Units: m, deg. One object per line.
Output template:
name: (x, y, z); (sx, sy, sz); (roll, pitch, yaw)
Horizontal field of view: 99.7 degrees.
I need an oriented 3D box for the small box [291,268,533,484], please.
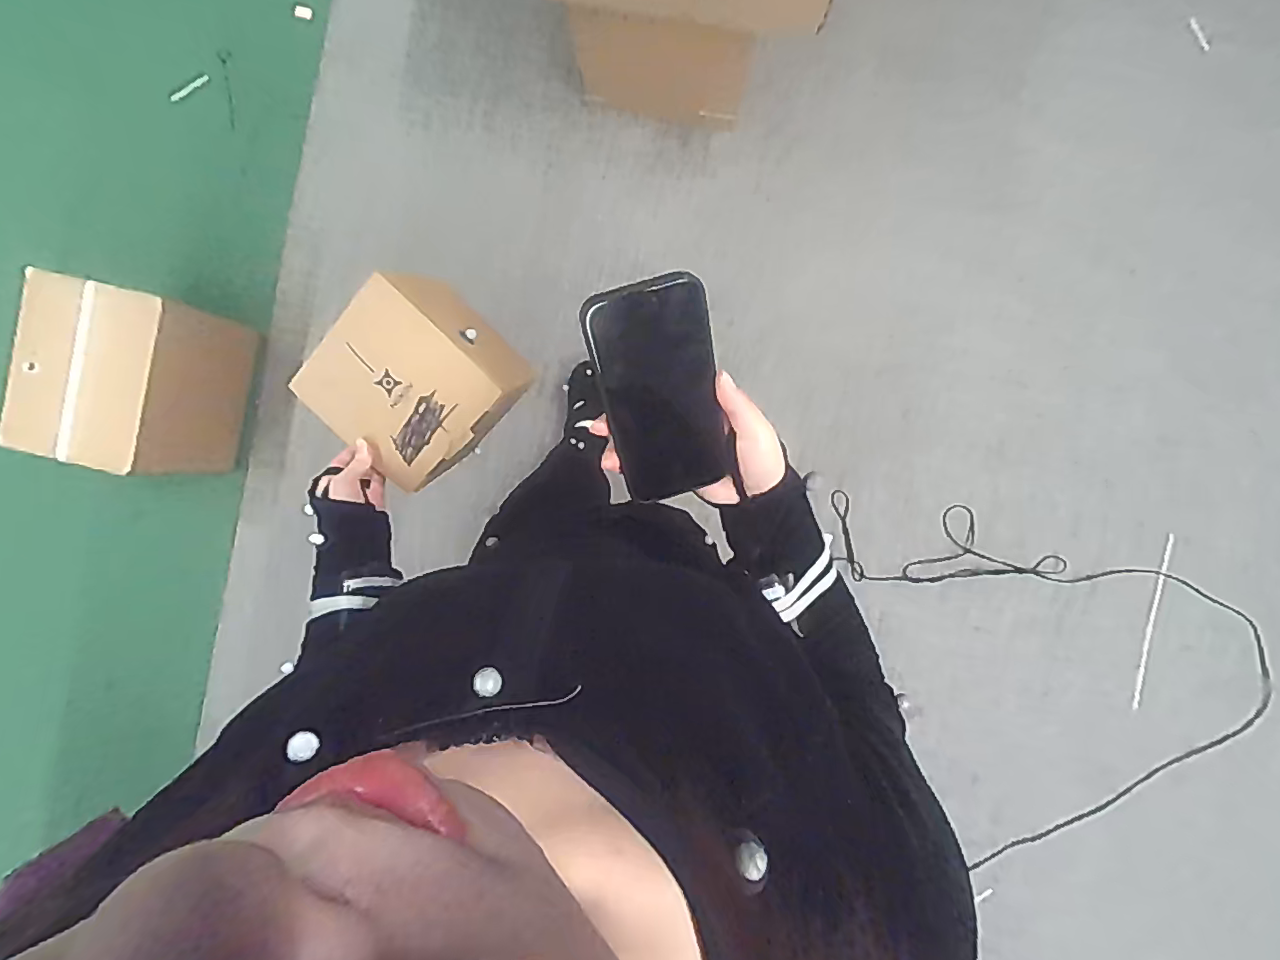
small box: (-0.256, -0.128, 0.654); (0.168, 0.176, 0.179); (-43, 99, 14)
